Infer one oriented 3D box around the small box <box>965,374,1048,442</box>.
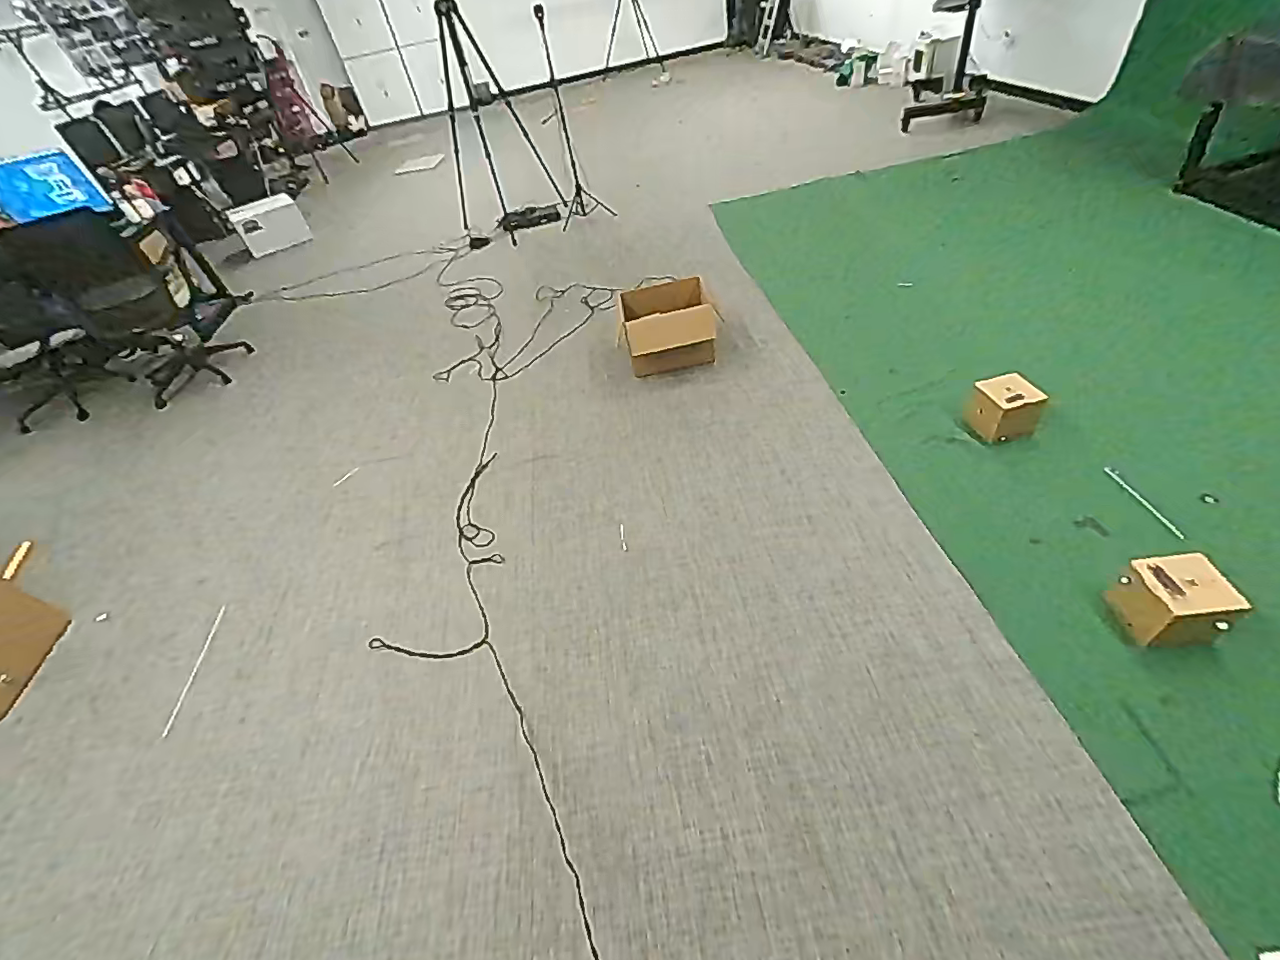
[{"bbox_3d":[1.333,-0.256,1.980,0.168,0.176,0.179,-14,43,-1],"label":"small box"}]
